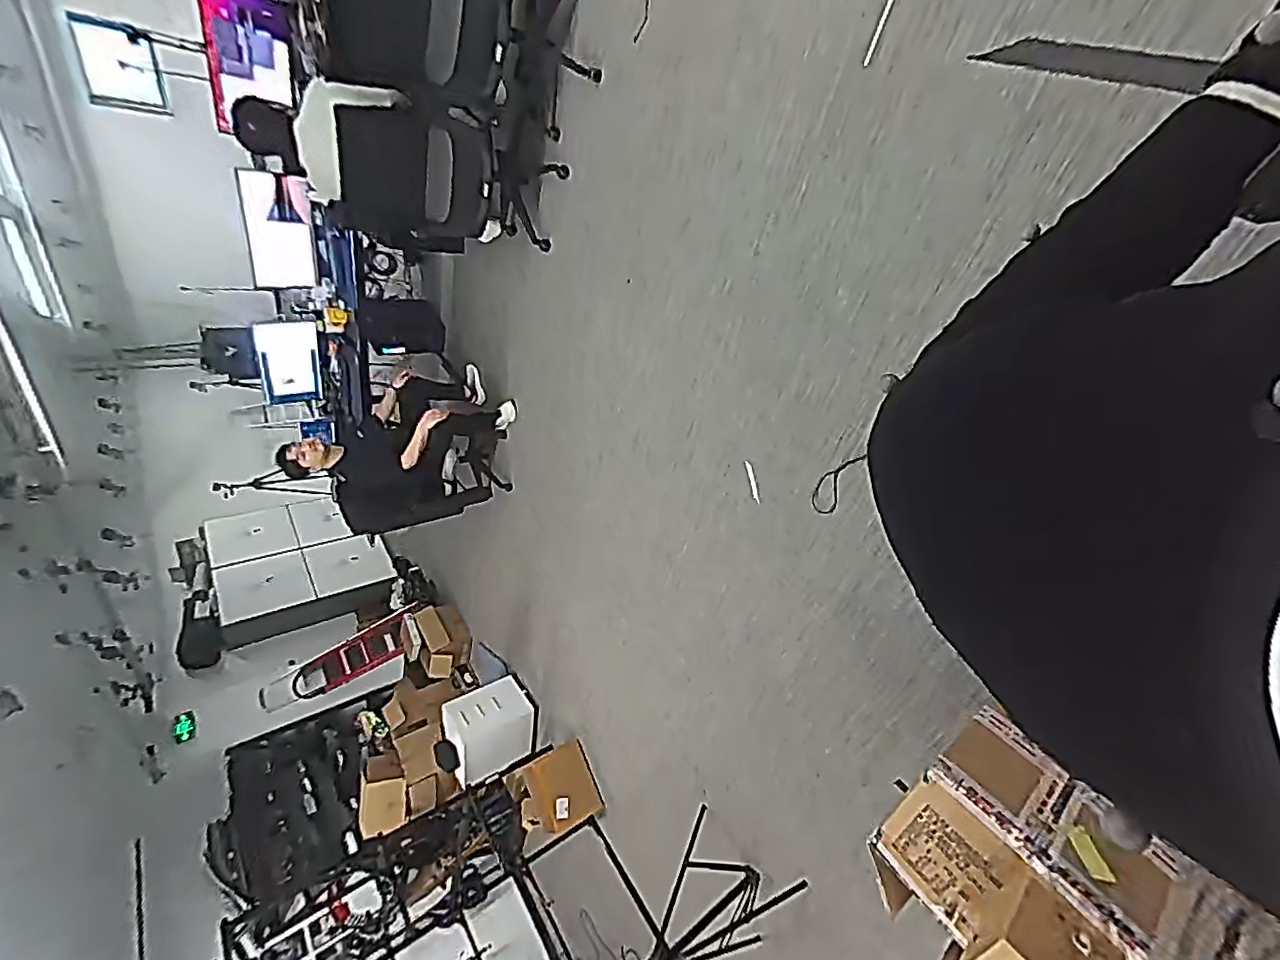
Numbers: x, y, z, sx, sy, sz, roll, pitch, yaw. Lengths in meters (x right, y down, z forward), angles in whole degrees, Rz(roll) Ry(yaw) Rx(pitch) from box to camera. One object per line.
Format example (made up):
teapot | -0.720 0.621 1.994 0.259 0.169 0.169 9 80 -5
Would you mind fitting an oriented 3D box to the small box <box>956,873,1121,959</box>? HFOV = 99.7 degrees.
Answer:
small box | 0.712 0.866 0.968 0.168 0.176 0.179 39 126 37
